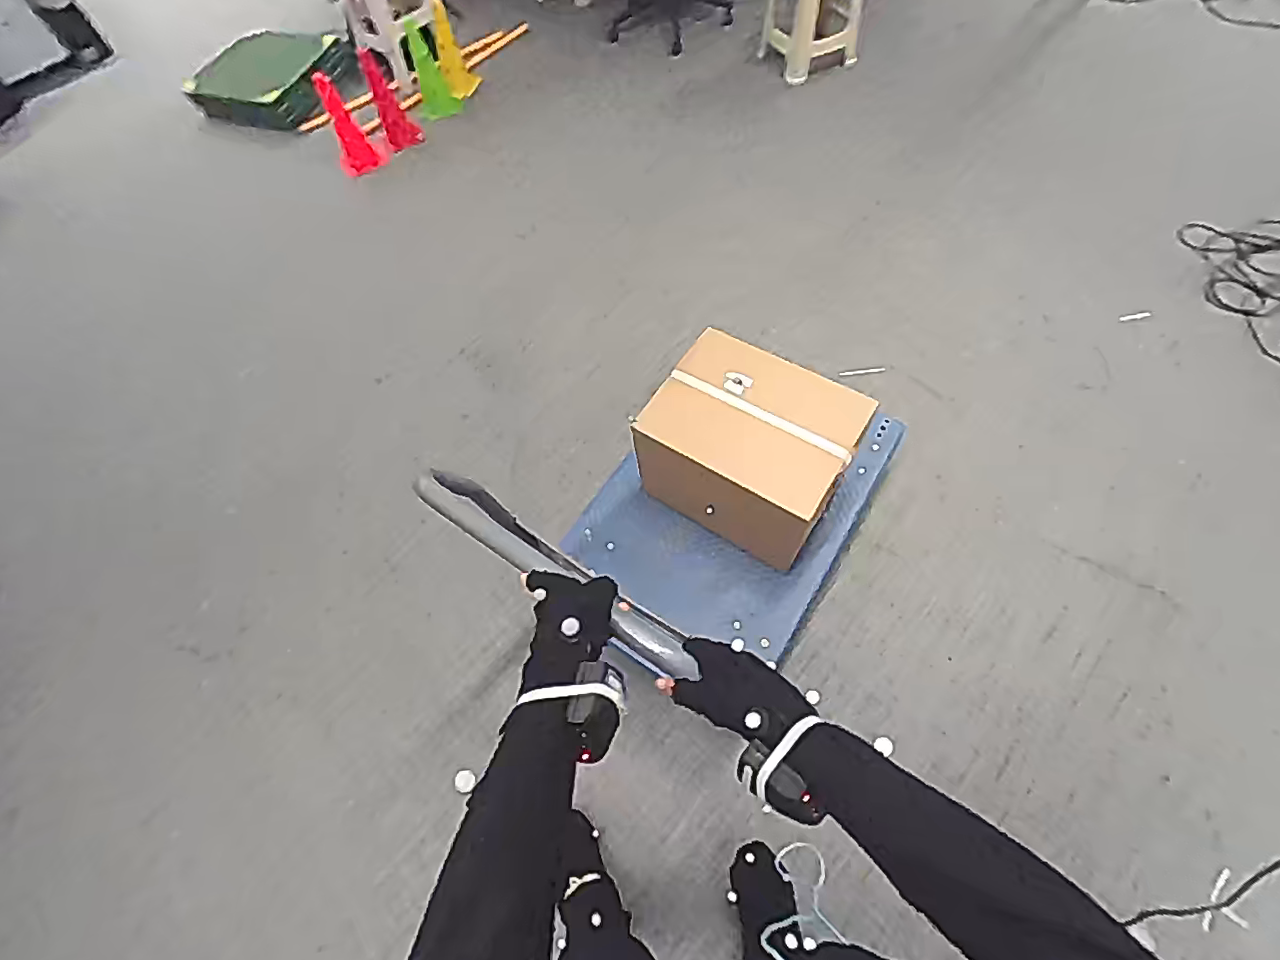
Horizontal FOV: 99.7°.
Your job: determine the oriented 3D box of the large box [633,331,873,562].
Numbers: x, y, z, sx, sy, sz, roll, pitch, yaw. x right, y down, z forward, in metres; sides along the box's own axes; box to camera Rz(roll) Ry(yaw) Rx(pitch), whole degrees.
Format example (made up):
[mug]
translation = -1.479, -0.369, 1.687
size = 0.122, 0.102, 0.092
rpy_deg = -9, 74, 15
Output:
[large box]
translation = 0.250, -0.071, 1.246
size = 0.408, 0.320, 0.320
rpy_deg = 29, 69, 21
